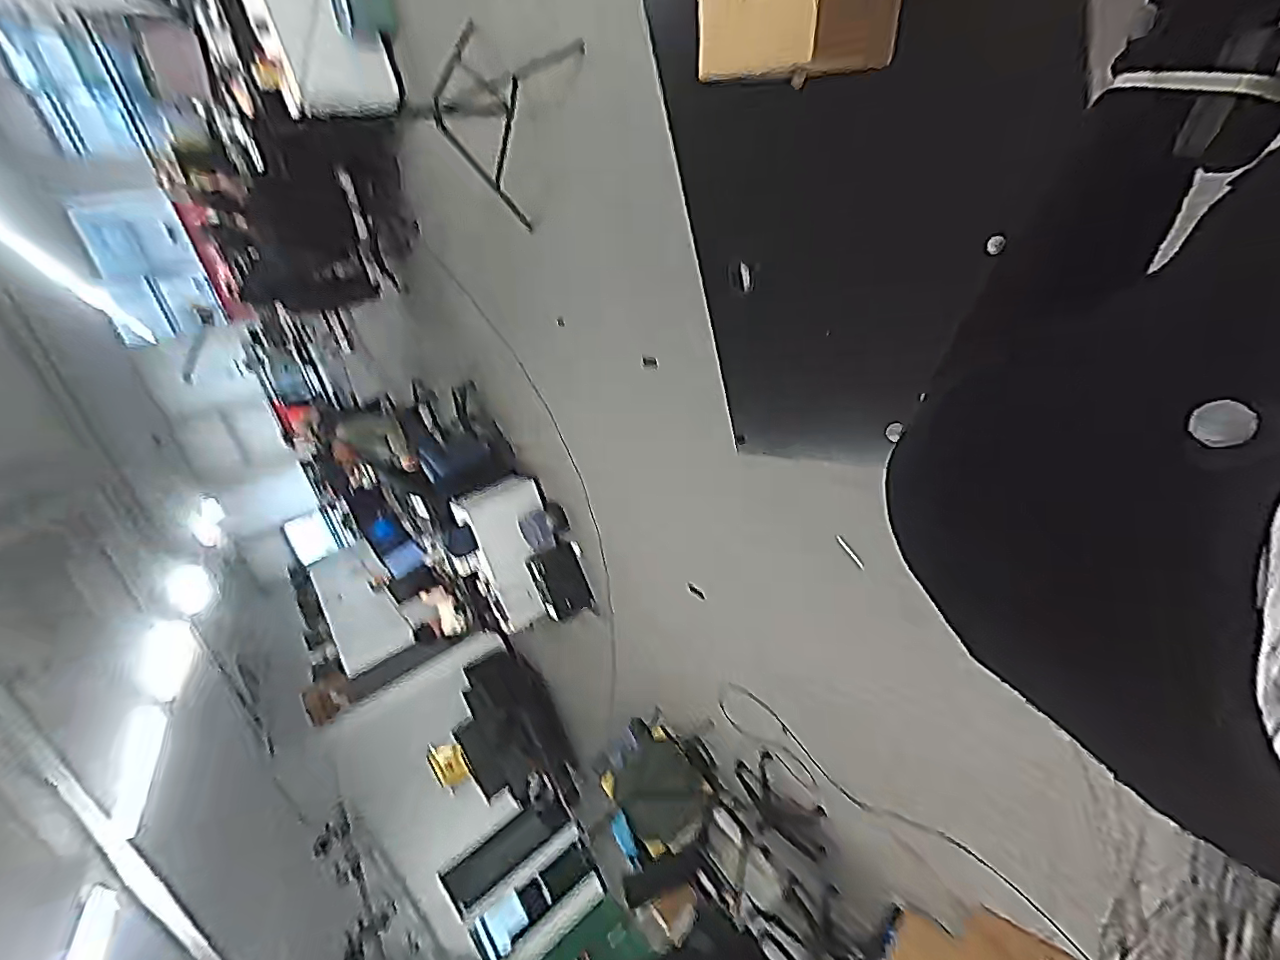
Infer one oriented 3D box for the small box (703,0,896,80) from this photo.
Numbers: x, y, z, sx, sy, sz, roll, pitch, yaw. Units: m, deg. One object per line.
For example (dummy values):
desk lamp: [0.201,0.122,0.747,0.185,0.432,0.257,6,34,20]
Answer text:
small box: [0.195,-0.592,0.648,0.179,0.176,0.168,32,138,42]
